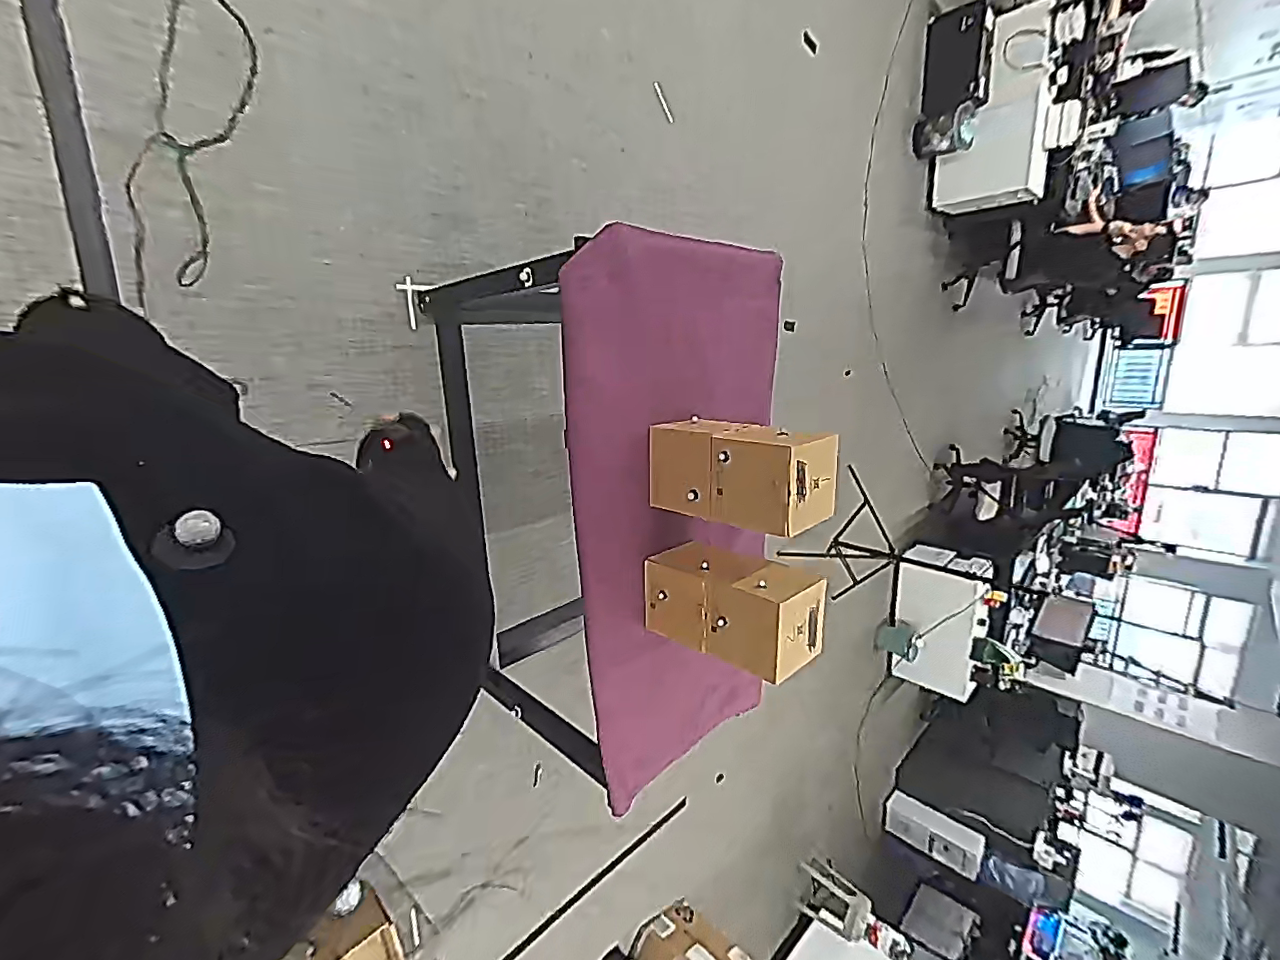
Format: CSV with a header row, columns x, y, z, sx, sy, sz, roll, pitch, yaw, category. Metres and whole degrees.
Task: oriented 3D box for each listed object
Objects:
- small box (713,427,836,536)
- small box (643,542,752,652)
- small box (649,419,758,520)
x,y,z,sx,sy,sz,roll,pitch,yaw,category
0.253,-0.006,1.033,0.179,0.176,0.168,-15,110,-43,small box
0.126,0.247,1.198,0.179,0.176,0.168,-13,108,-43,small box
0.132,-0.030,1.142,0.168,0.176,0.179,-13,108,-44,small box
